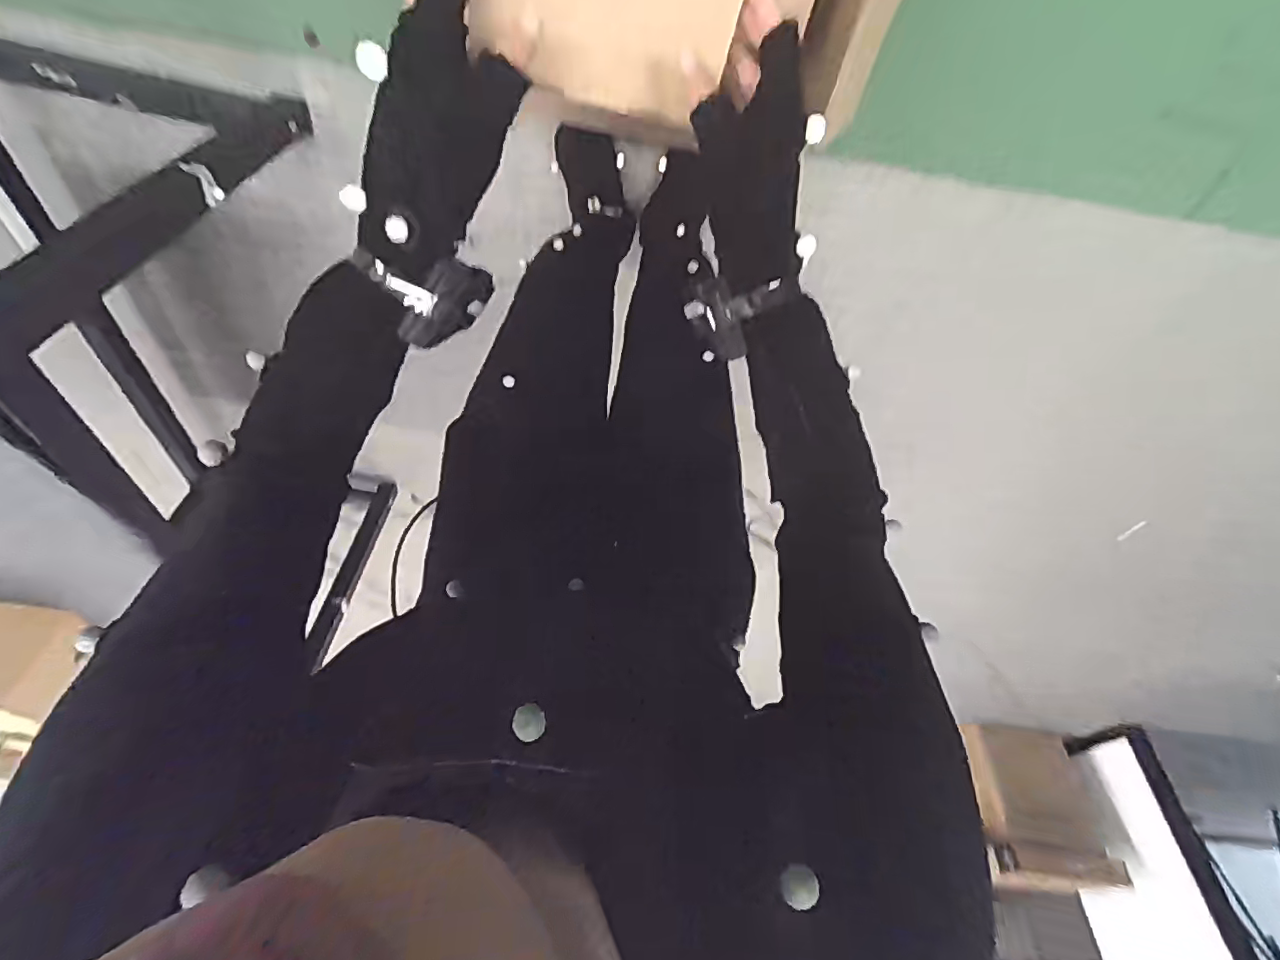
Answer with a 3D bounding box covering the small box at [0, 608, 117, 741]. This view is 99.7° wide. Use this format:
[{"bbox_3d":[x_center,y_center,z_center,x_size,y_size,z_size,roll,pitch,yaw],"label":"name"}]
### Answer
[{"bbox_3d":[-1.096,0.335,0.944,0.179,0.176,0.168,10,140,-7],"label":"small box"}]
